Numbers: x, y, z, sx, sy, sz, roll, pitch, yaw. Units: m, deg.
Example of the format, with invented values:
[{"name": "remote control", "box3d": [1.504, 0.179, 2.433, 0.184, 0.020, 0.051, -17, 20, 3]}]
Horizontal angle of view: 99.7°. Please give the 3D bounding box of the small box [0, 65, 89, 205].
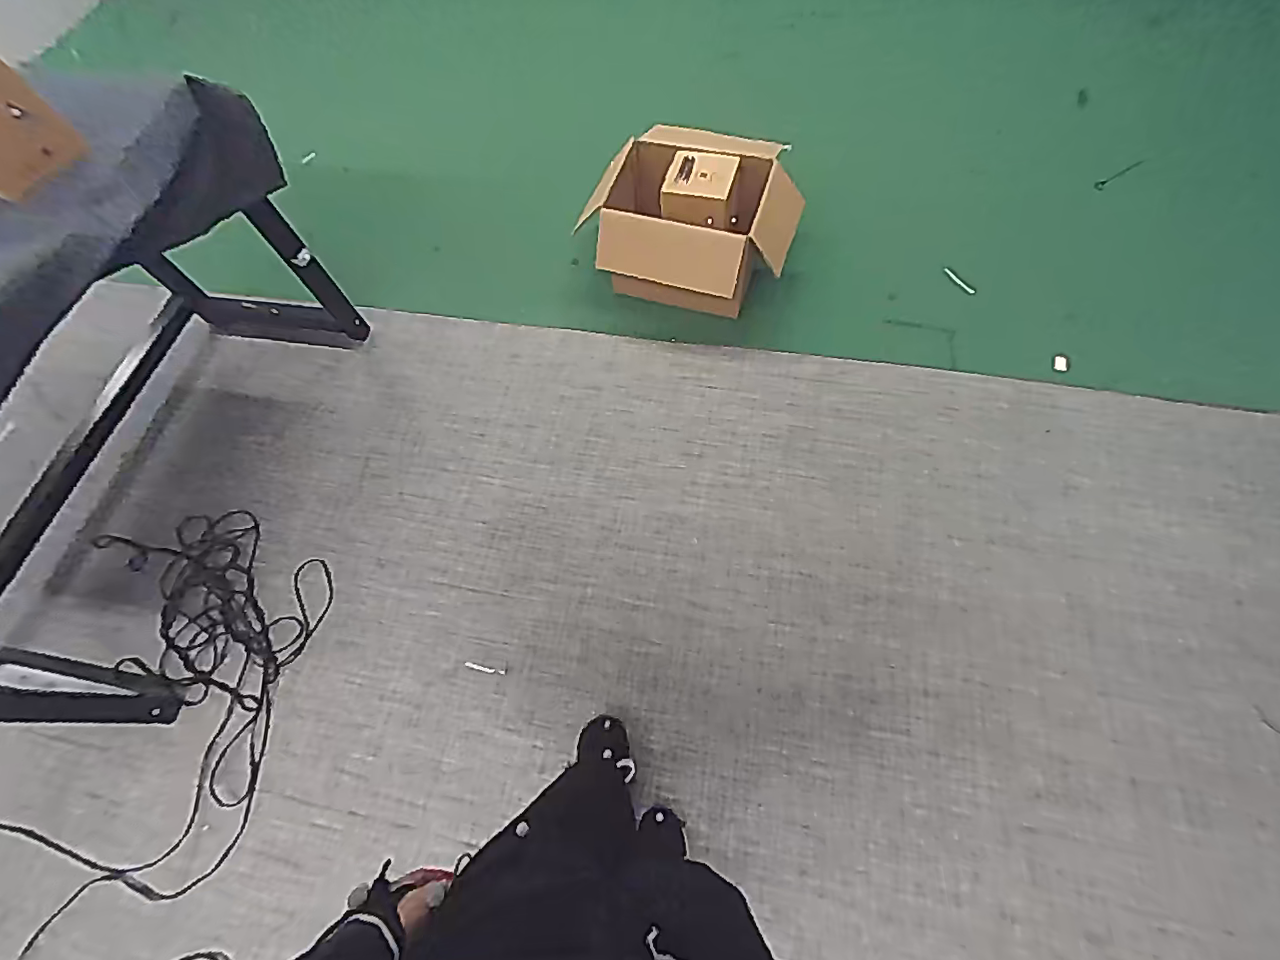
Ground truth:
[{"name": "small box", "box3d": [-1.122, -0.602, 0.919, 0.179, 0.176, 0.168, 25, 68, 17]}]
